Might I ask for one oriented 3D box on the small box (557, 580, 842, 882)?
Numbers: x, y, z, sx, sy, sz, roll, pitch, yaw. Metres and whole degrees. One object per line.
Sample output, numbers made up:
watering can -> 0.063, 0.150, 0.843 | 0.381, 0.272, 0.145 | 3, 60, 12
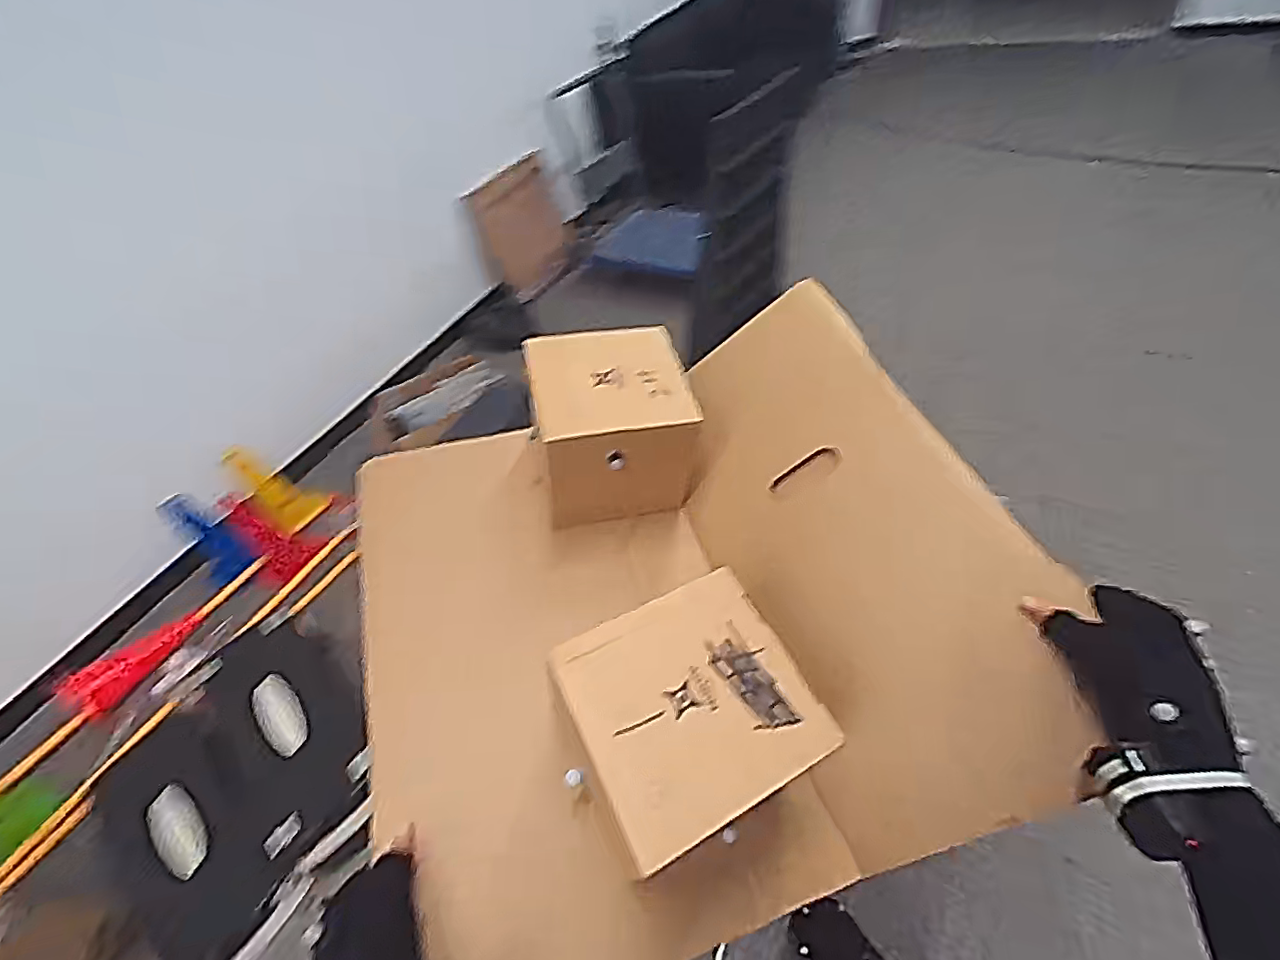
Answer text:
small box -> 0.036, 0.222, 0.485 | 0.179, 0.176, 0.168 | -20, 58, -19
